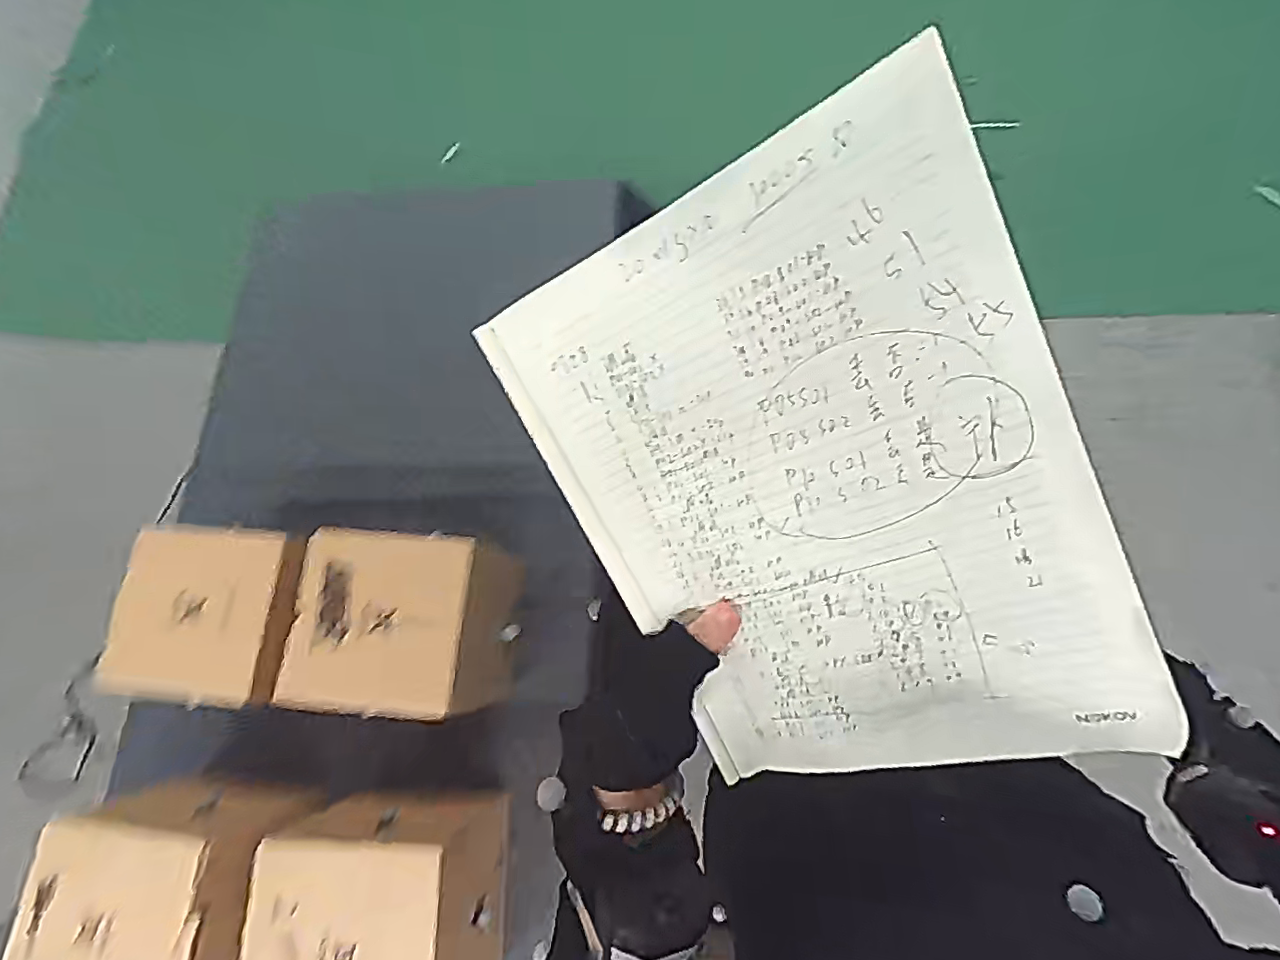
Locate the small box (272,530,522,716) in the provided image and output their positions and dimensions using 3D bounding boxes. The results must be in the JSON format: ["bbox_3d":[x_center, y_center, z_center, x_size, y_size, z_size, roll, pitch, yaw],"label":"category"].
[{"bbox_3d":[-0.251,0.155,0.601,0.179,0.176,0.168,2,75,8],"label":"small box"}]

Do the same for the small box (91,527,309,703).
[{"bbox_3d":[-0.453,0.155,0.630,0.179,0.176,0.168,3,76,7],"label":"small box"}]
